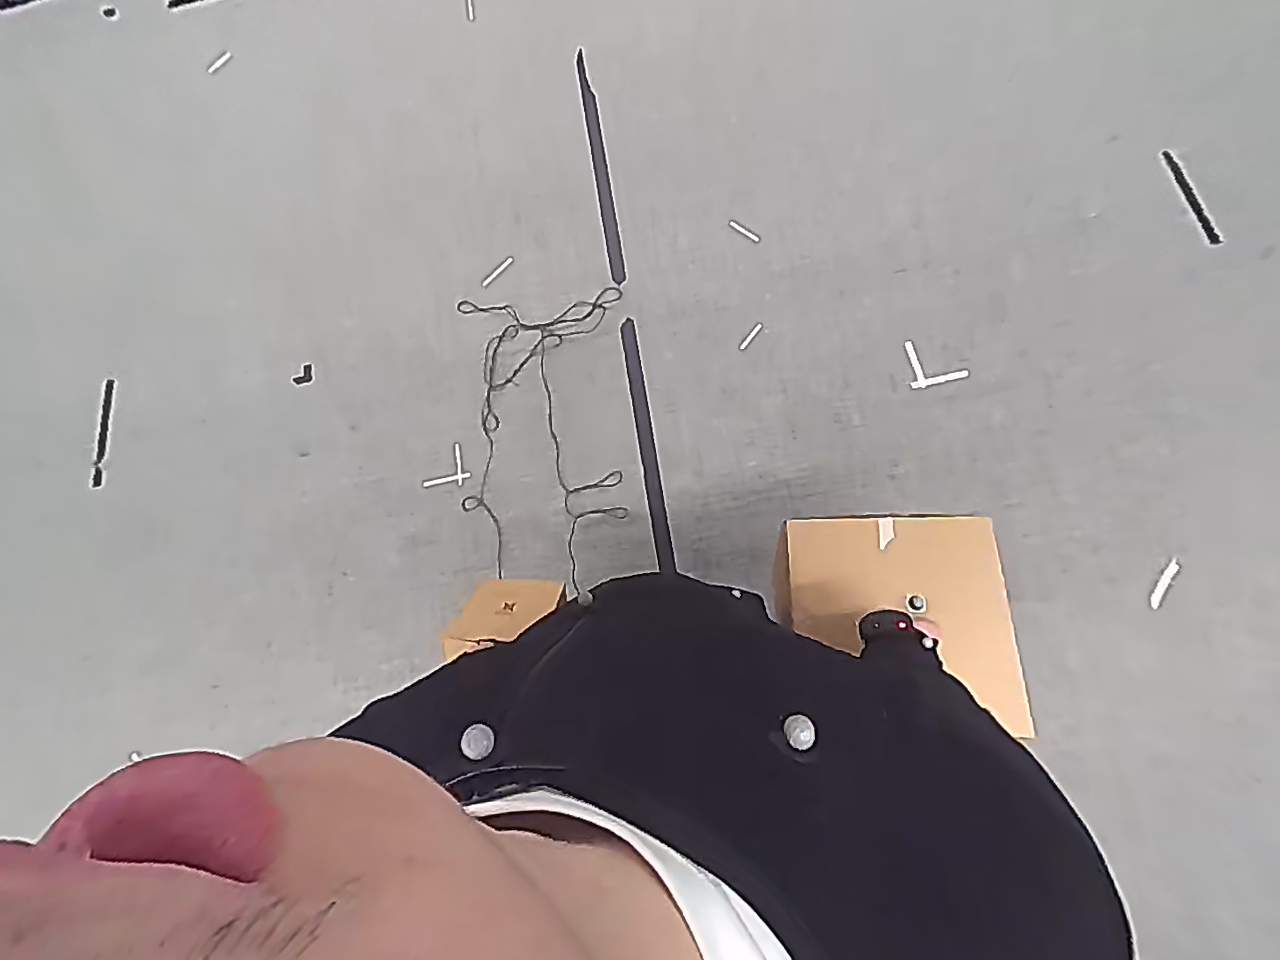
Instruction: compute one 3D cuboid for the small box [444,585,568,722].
[{"bbox_3d":[-0.228,0.309,0.974,0.168,0.179,0.176,1,110,5],"label":"small box"}]
